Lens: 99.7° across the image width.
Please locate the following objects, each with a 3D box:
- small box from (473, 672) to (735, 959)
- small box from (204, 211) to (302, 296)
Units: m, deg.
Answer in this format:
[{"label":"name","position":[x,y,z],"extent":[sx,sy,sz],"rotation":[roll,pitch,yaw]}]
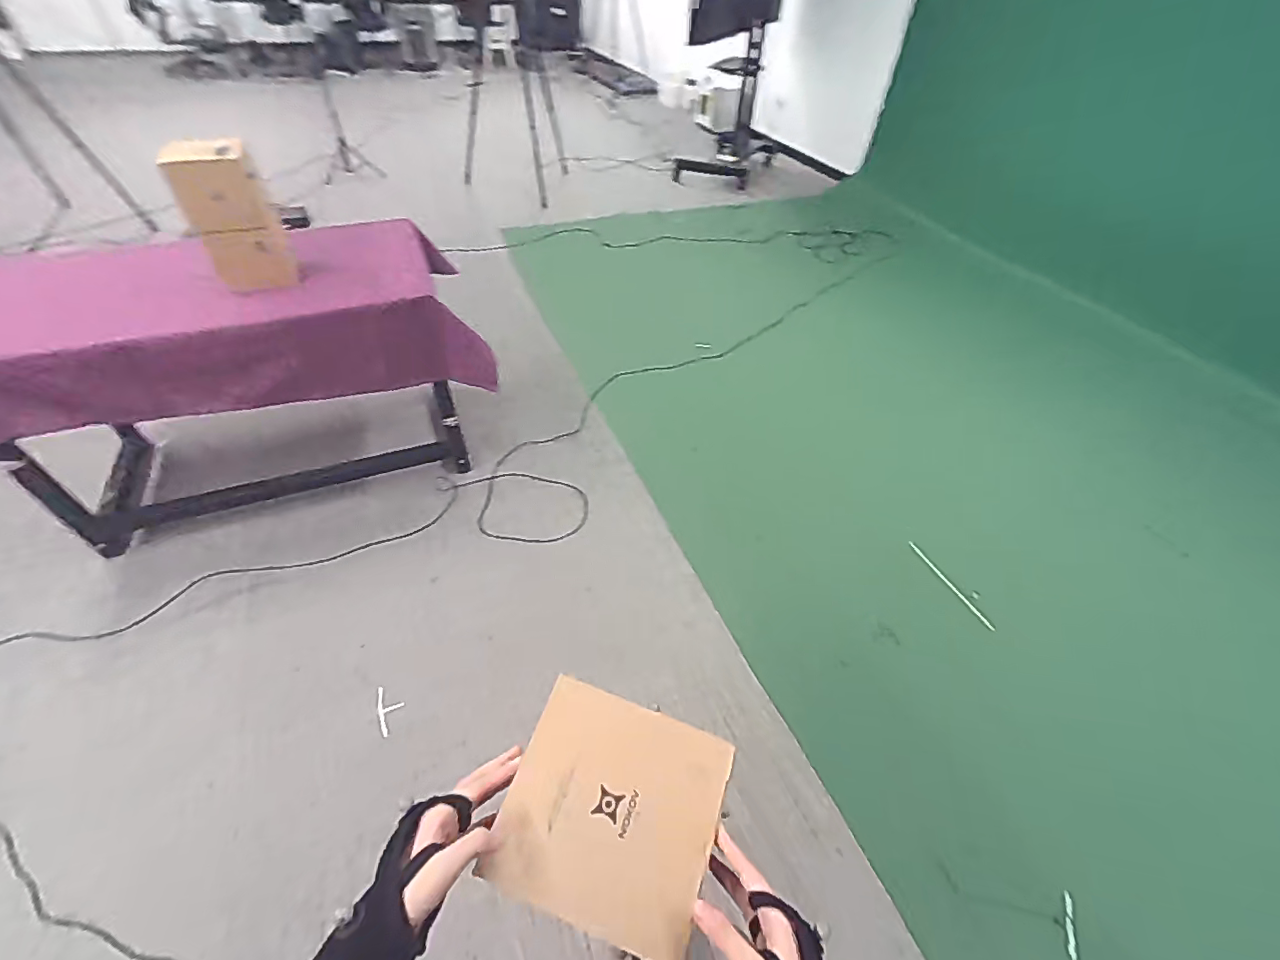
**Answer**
[{"label":"small box","position":[-0.025,0.313,0.519],"extent":[0.179,0.176,0.168],"rotation":[17,57,11]},{"label":"small box","position":[-1.092,-0.646,1.543],"extent":[0.179,0.176,0.168],"rotation":[-14,48,-16]}]
